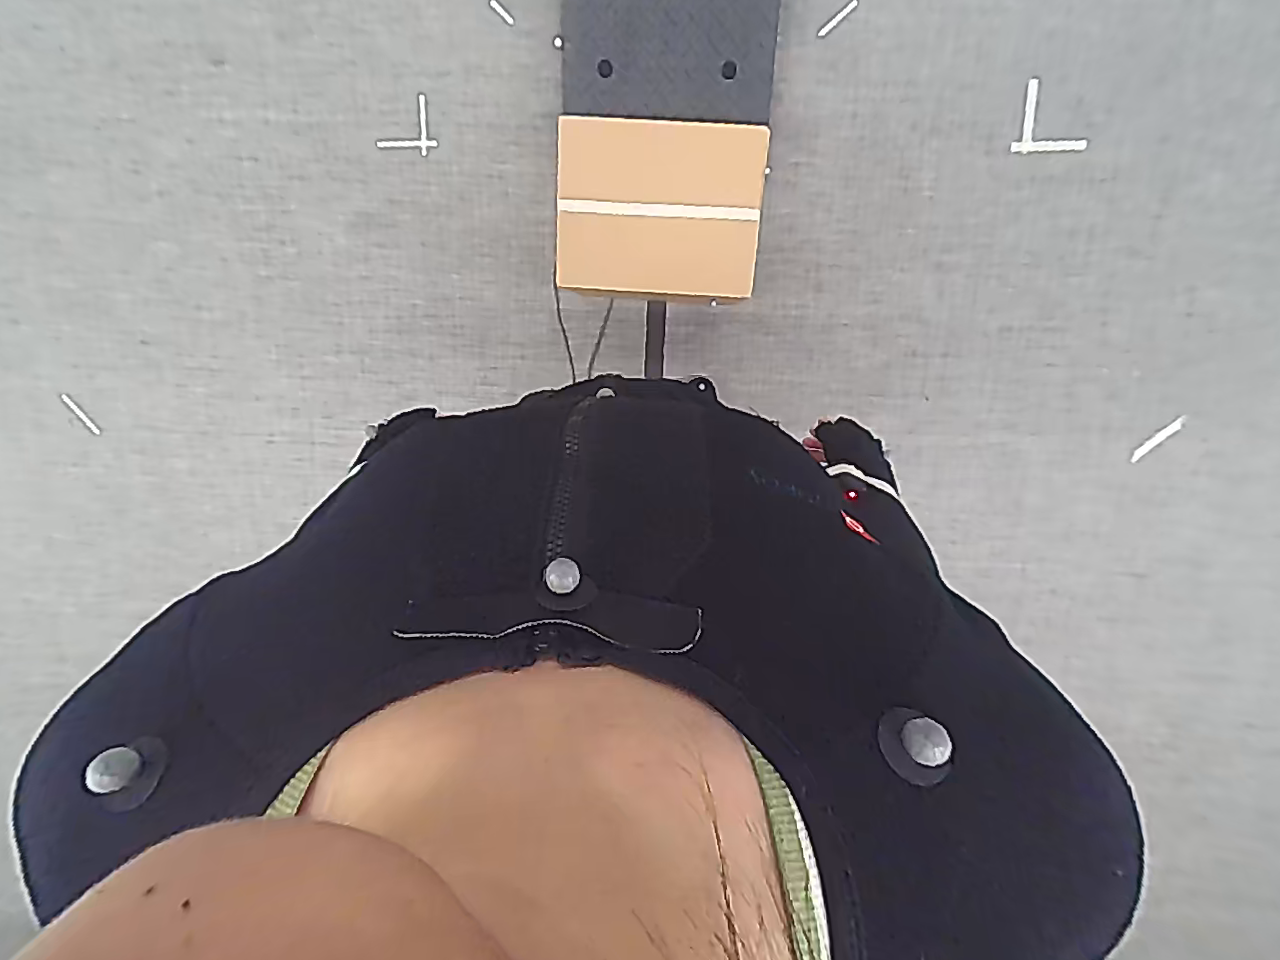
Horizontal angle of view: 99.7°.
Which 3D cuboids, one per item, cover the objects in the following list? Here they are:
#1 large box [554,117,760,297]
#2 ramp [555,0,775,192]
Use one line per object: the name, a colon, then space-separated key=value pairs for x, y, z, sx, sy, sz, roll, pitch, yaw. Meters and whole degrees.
large box: x=0.034 y=-0.584 z=1.219 sx=0.408 sy=0.320 sz=0.320 roll=4 pitch=106 yaw=1
ramp: x=0.059 y=-1.155 z=1.172 sx=0.509 sy=0.206 sz=0.991 roll=0 pitch=102 yaw=1
